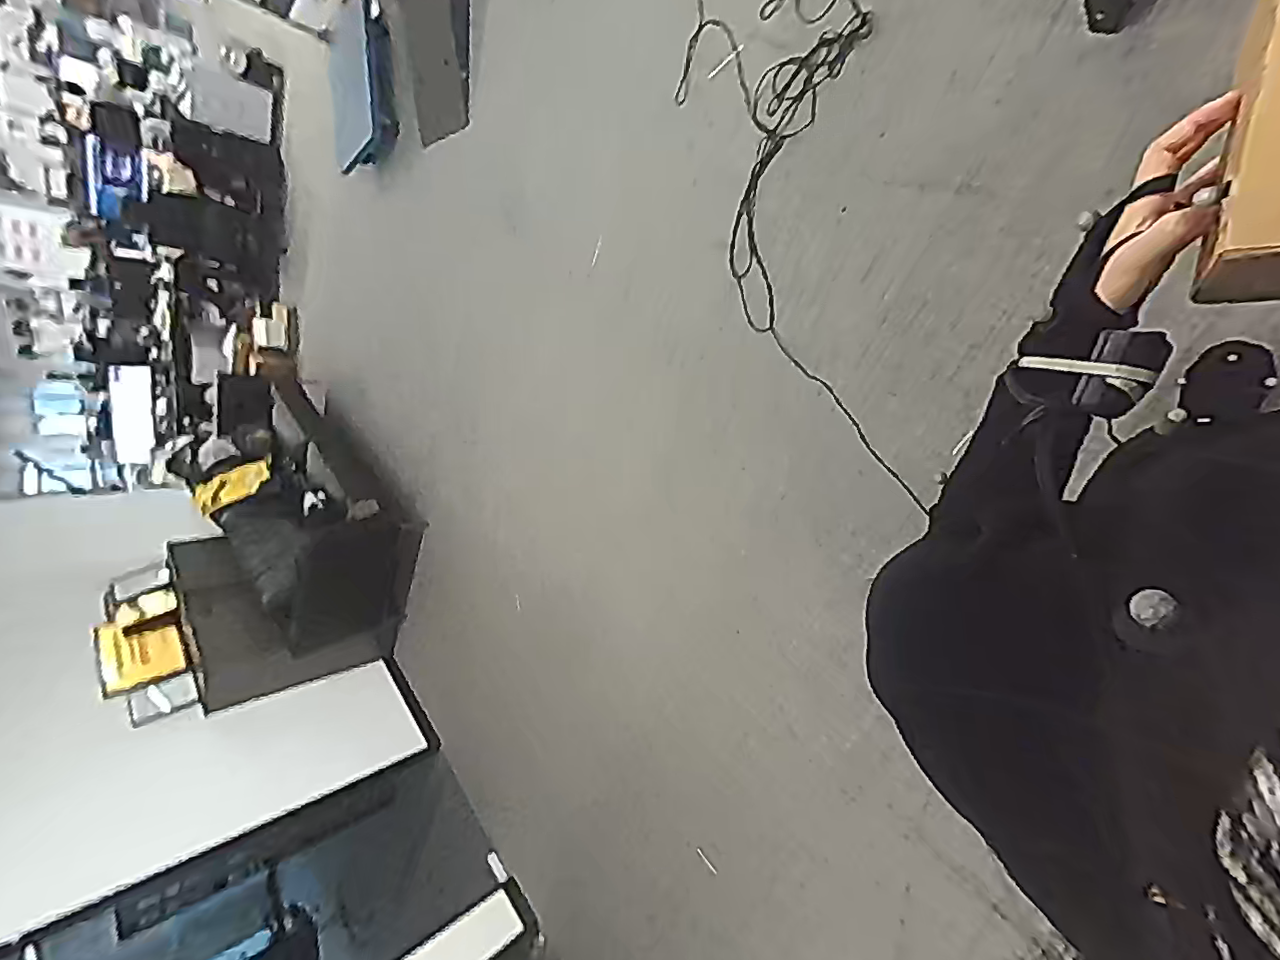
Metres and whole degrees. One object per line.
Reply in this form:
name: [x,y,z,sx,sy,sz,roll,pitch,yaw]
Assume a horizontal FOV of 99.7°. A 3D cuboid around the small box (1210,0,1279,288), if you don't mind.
small box: [0.443,-0.212,0.289,0.168,0.176,0.179,10,104,41]
